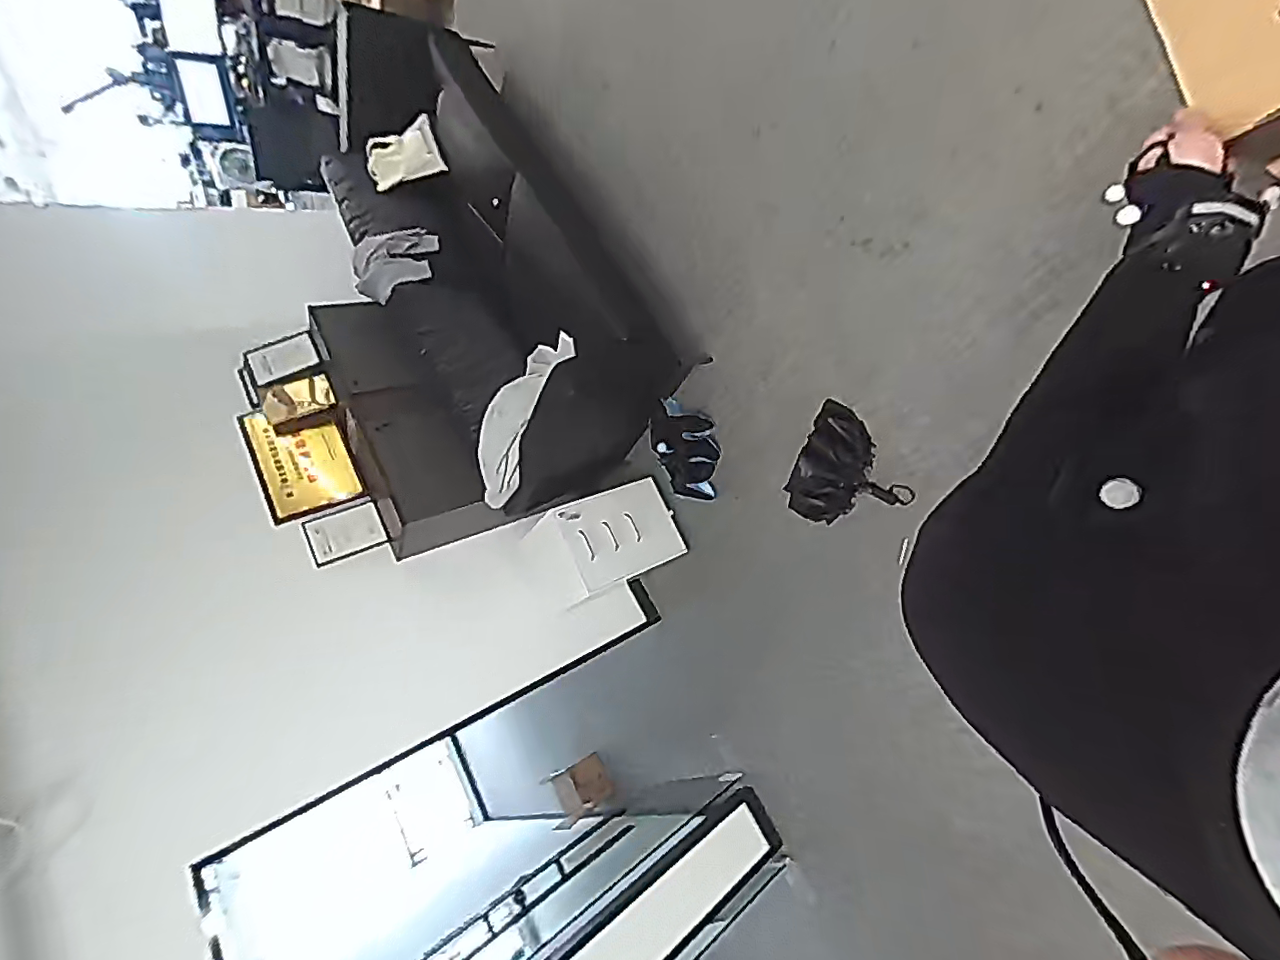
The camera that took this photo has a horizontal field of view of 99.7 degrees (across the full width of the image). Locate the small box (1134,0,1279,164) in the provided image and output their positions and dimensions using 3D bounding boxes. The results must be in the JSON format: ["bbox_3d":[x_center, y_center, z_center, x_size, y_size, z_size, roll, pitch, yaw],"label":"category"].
[{"bbox_3d":[0.588,-0.401,0.460,0.168,0.176,0.179,-30,74,62],"label":"small box"}]
